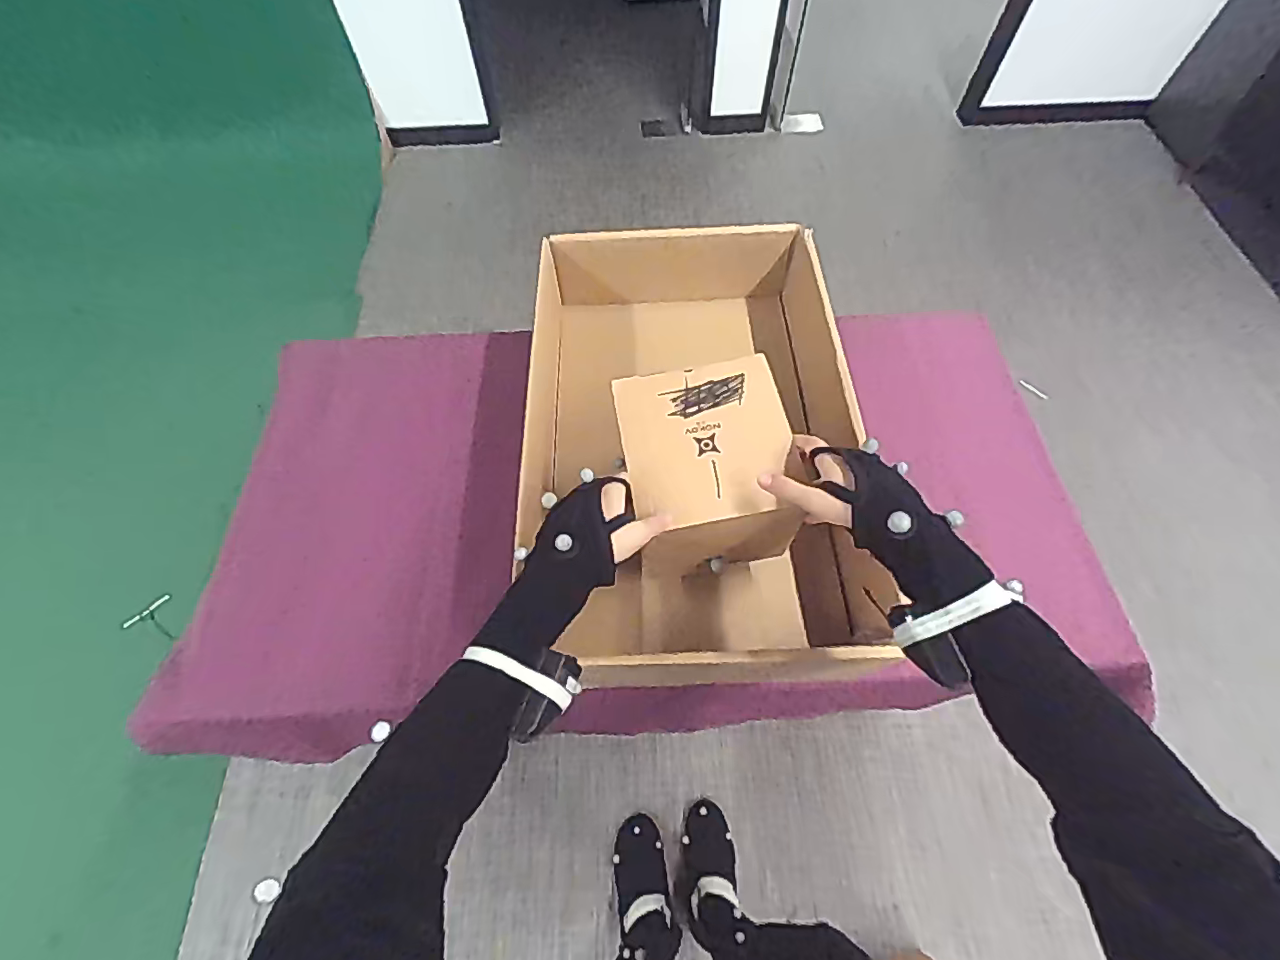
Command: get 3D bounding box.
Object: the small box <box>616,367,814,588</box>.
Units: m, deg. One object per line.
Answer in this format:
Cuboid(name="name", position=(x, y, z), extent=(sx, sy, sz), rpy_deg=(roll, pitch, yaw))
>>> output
Cuboid(name="small box", position=(0.071, 0.005, 0.601), extent=(0.168, 0.176, 0.179), rpy_deg=(-11, 65, -1))
